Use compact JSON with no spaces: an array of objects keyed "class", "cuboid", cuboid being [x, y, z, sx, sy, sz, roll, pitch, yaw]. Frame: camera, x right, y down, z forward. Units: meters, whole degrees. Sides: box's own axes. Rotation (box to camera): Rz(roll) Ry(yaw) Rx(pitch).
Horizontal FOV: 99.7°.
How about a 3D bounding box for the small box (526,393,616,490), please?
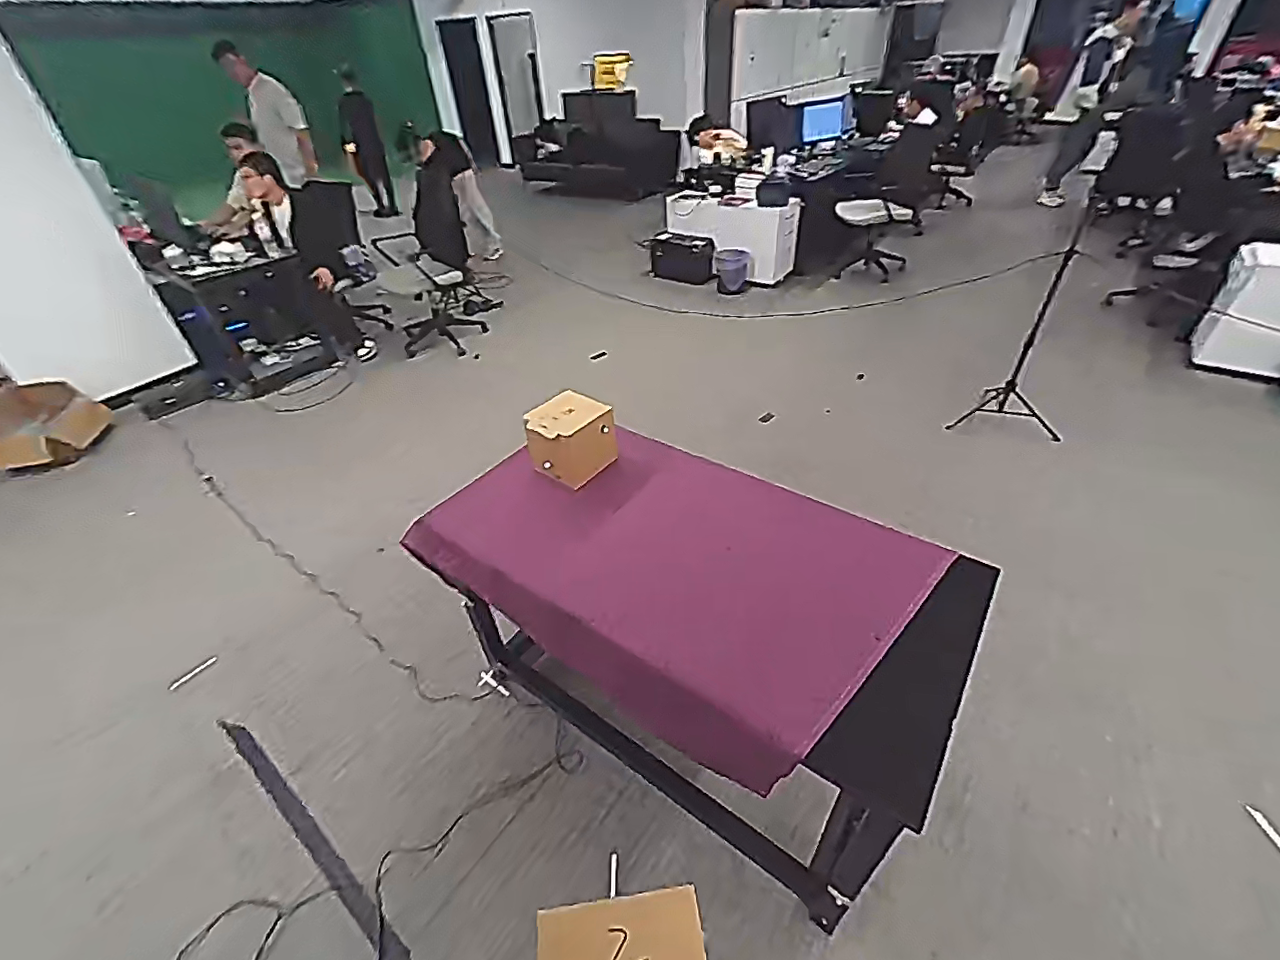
[{"class":"small box","cuboid":[-0.179,-0.106,1.456,0.168,0.176,0.179,25,47,31]}]
